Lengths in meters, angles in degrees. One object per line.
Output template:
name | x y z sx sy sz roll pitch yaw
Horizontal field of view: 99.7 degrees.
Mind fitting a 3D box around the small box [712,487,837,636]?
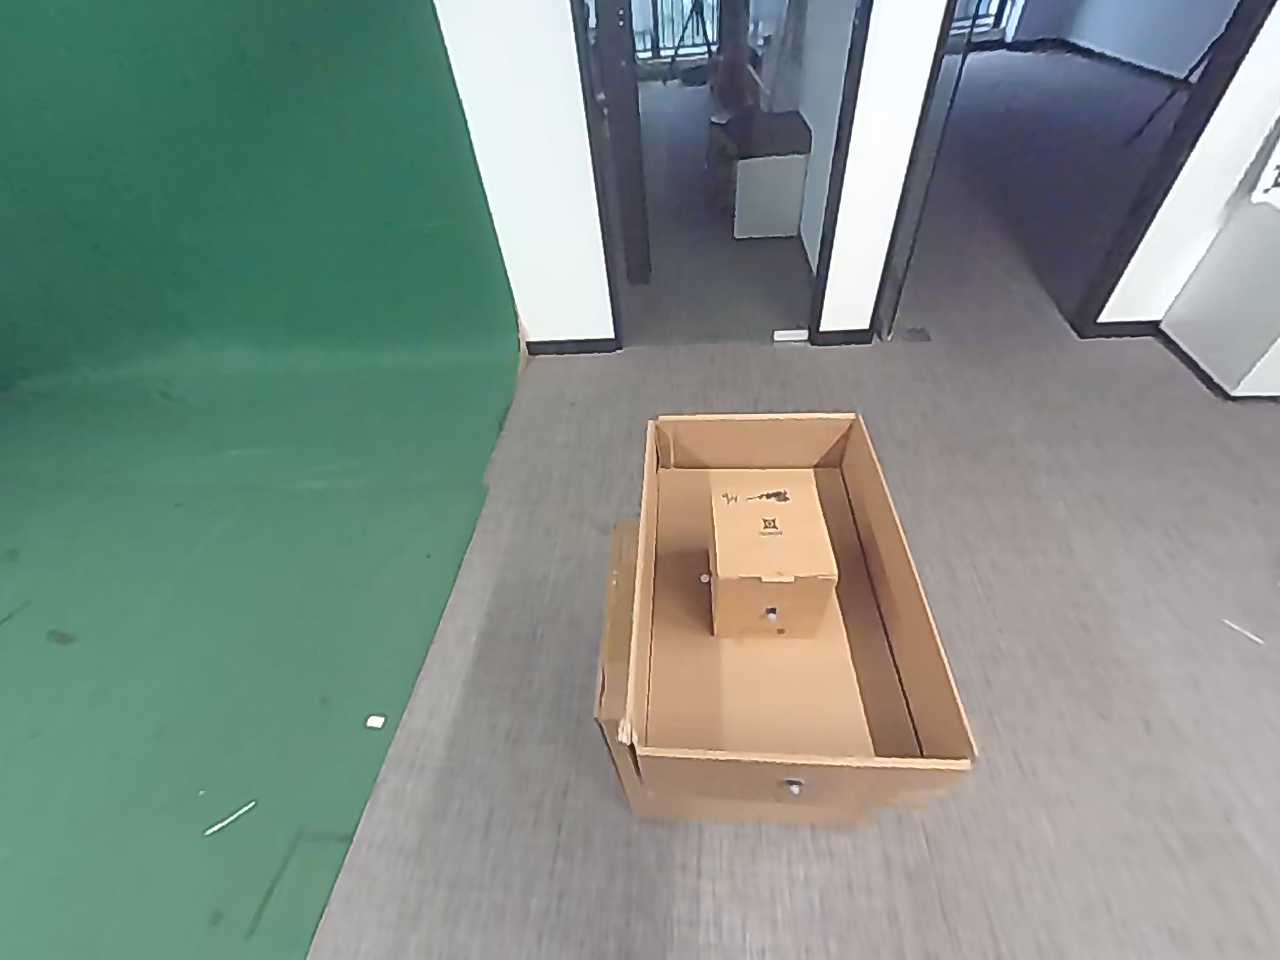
small box | 0.200 0.131 0.855 0.168 0.176 0.179 0 46 5
